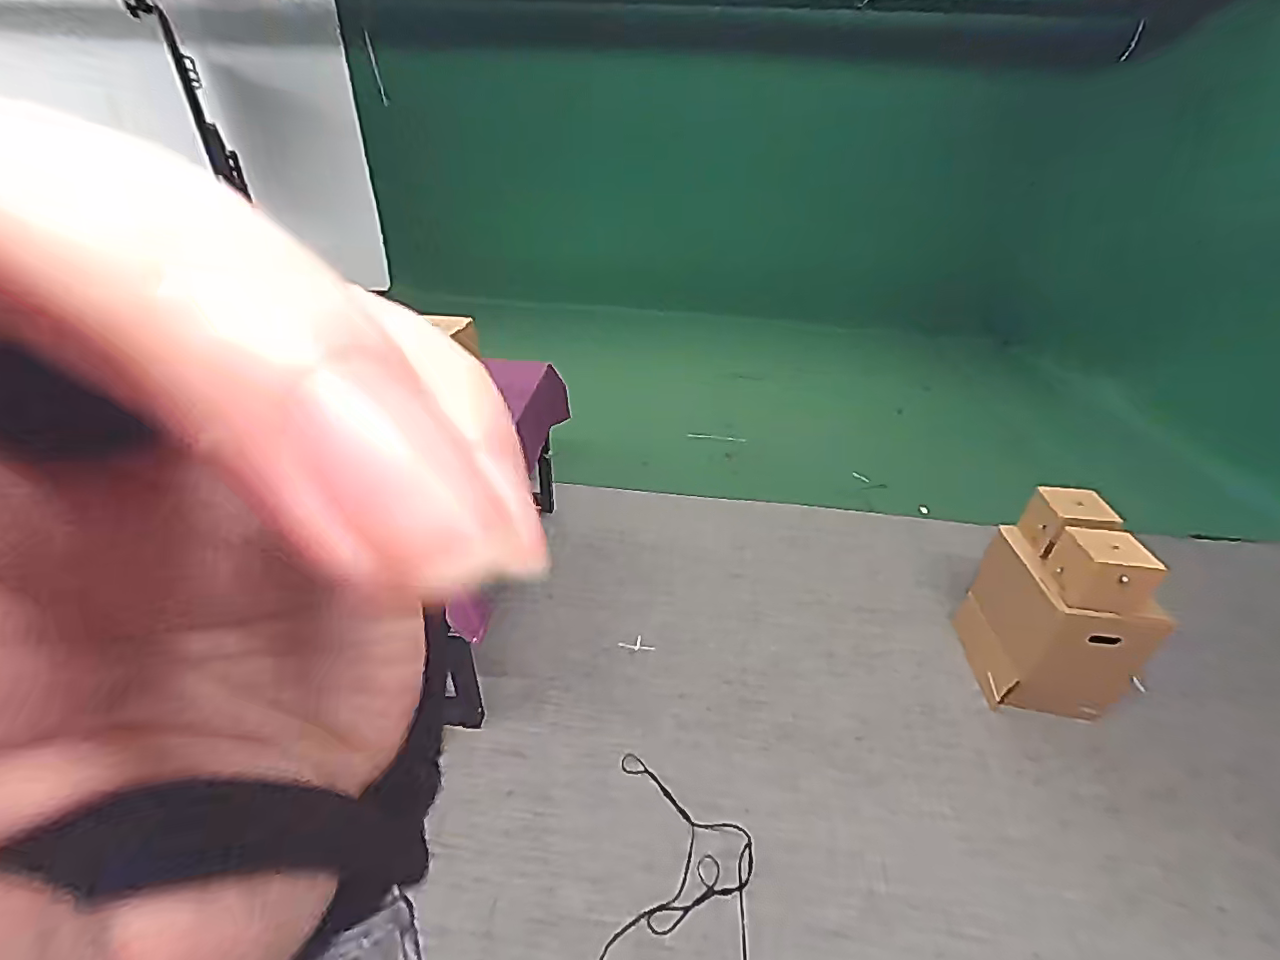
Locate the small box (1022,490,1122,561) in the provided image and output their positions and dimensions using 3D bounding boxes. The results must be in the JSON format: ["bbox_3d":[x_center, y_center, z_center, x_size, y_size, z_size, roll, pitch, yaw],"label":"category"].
[{"bbox_3d":[1.364,0.153,1.729,0.179,0.176,0.168,6,36,6],"label":"small box"}]

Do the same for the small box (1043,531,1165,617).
[{"bbox_3d":[1.313,0.269,1.545,0.179,0.176,0.168,7,32,6],"label":"small box"}]

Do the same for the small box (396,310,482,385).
[{"bbox_3d":[-0.590,-0.395,1.610,0.179,0.176,0.168,7,34,6],"label":"small box"}]
